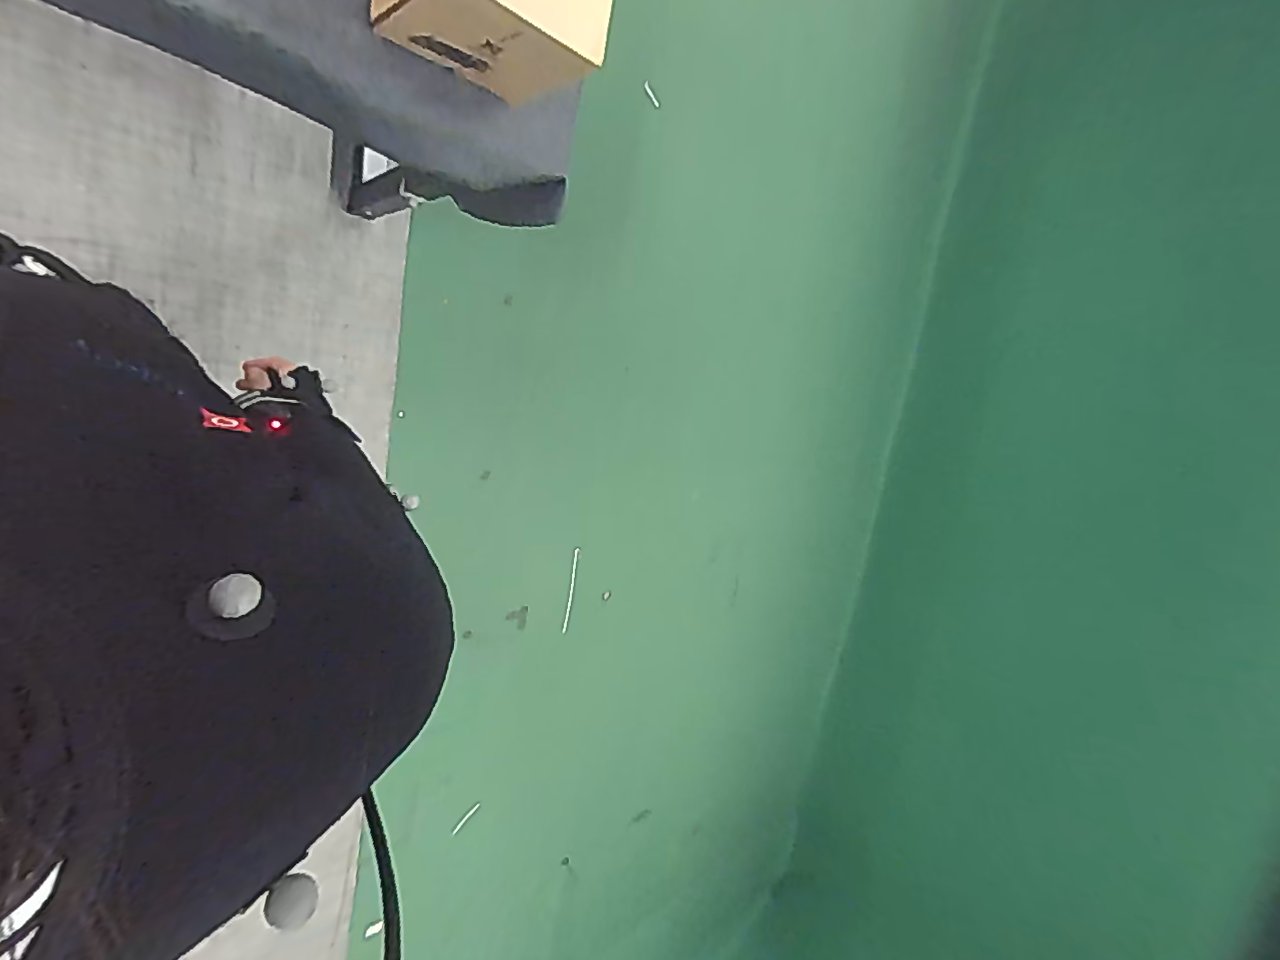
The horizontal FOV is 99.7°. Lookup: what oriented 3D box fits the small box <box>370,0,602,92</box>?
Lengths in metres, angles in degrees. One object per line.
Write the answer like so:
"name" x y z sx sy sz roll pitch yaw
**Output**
"small box" -0.137 -0.515 0.516 0.168 0.179 0.176 -4 111 -45
